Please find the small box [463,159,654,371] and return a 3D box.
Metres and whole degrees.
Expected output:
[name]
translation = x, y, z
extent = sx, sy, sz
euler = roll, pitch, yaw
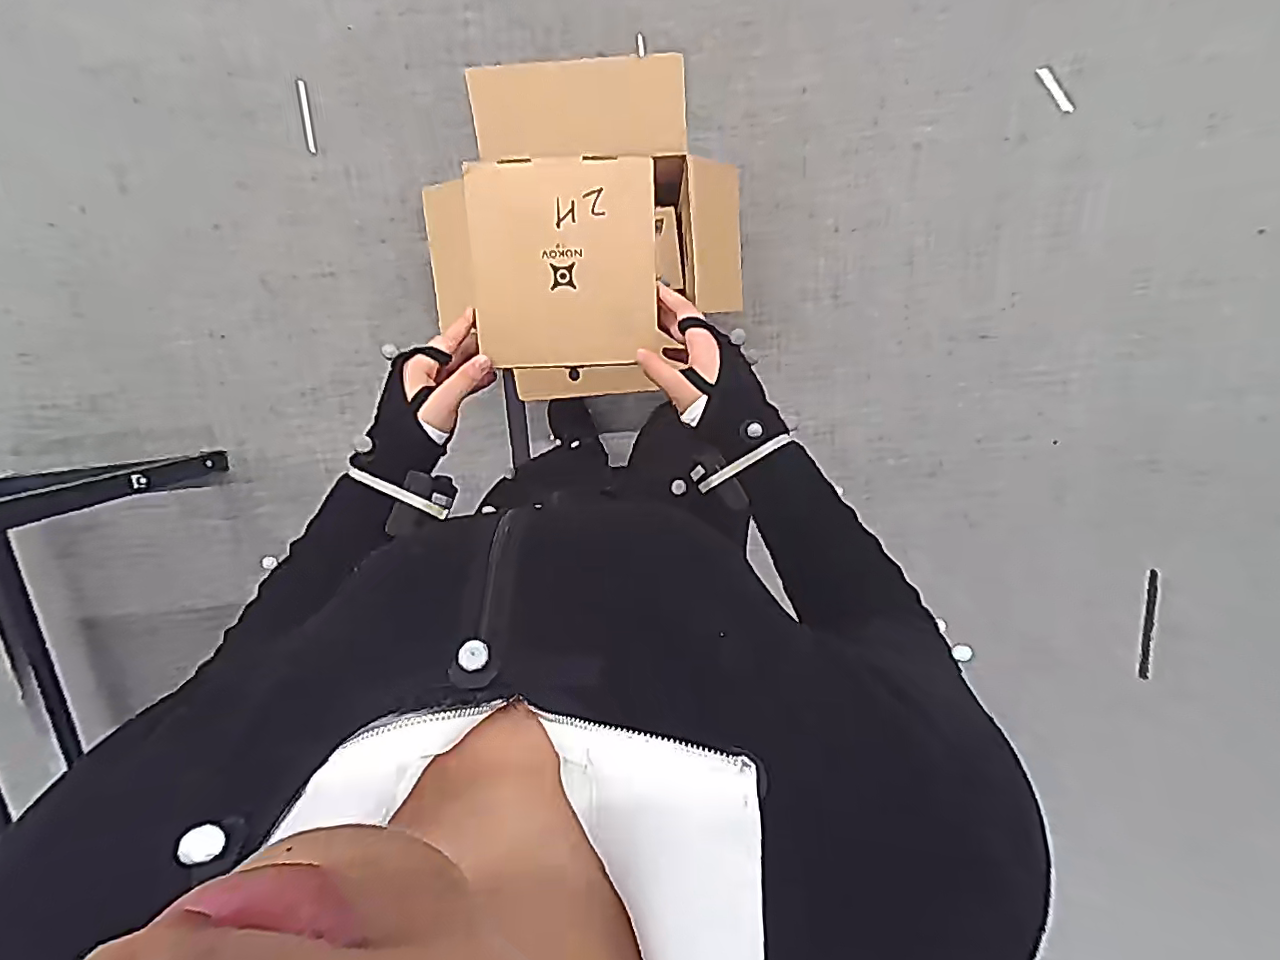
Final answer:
[small box]
translation = -0.069, -0.205, 0.557
extent = 0.168, 0.176, 0.179
euler = -2, 102, 0
